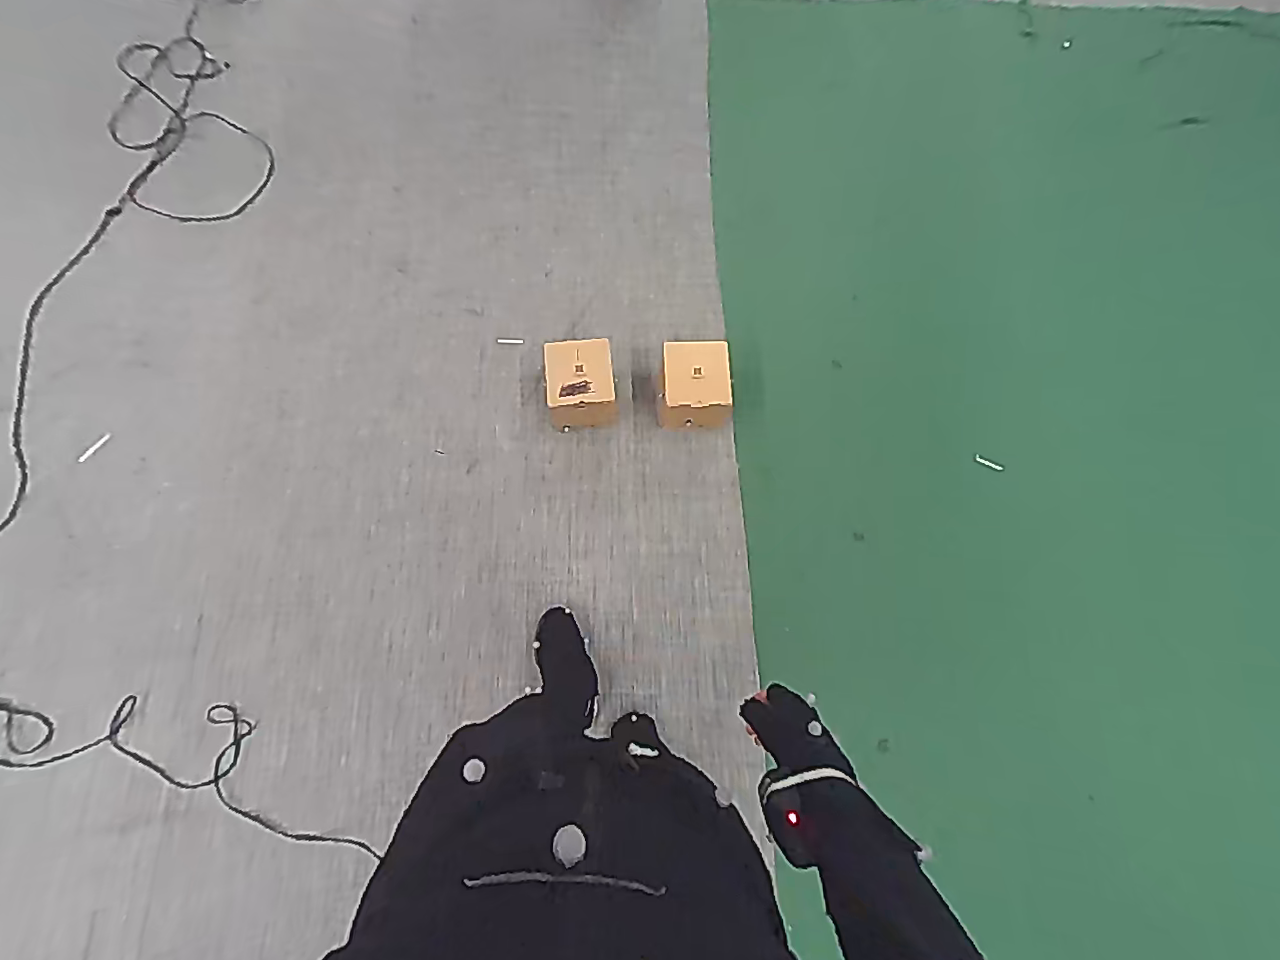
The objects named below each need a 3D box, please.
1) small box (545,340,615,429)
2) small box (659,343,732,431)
[{"bbox_3d":[-0.153,-0.242,1.413,0.168,0.176,0.179,-5,74,-5],"label":"small box"},{"bbox_3d":[0.140,-0.242,1.428,0.168,0.176,0.179,-2,74,-2],"label":"small box"}]
